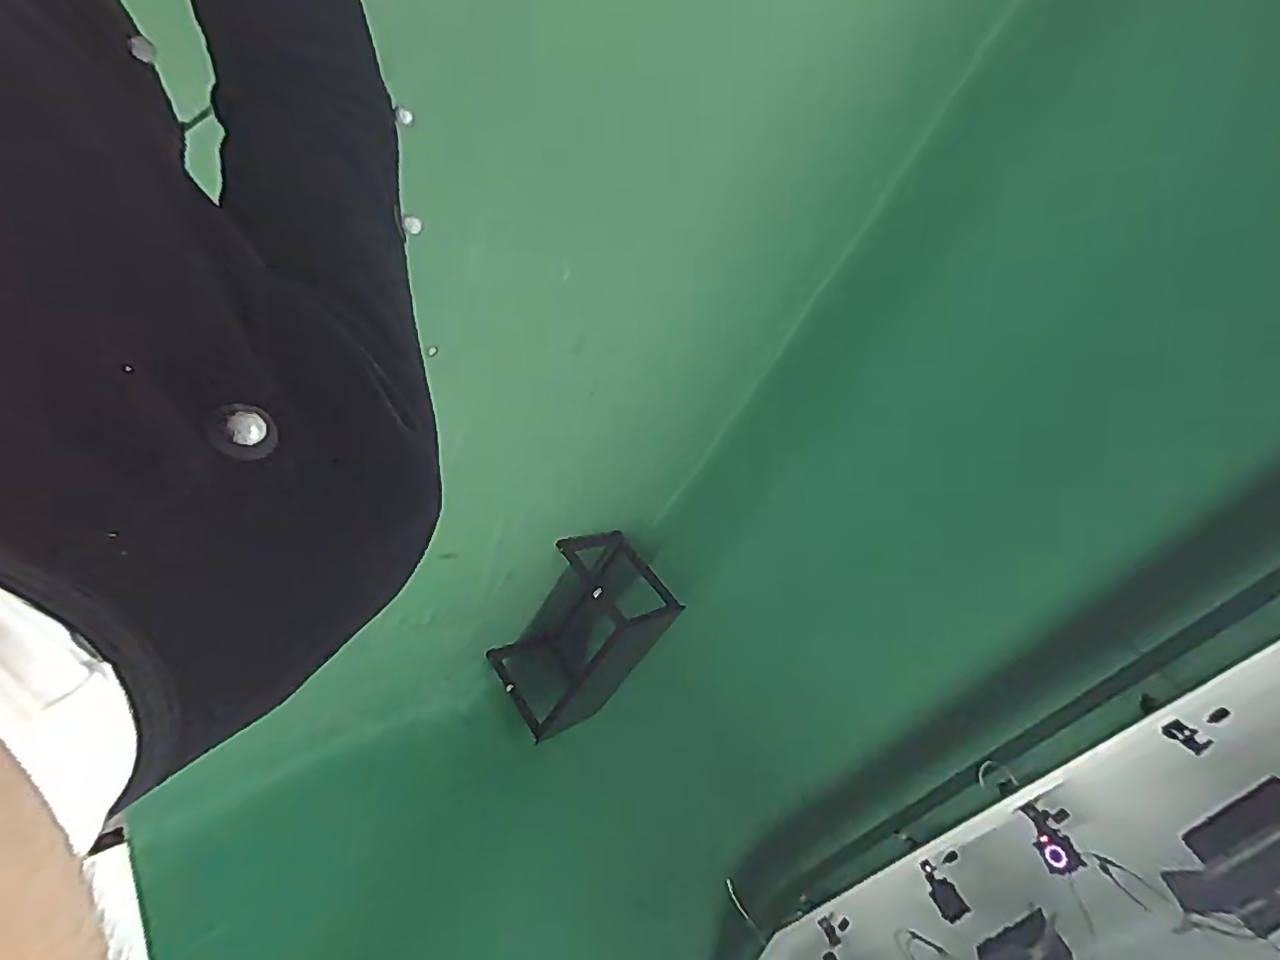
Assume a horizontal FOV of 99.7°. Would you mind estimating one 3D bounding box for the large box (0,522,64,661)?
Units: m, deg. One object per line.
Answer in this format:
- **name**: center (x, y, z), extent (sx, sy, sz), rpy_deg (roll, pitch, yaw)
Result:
- **large box**: center (-1.790, 0.312, 1.324), extent (0.408, 0.320, 0.320), rpy_deg (-32, 153, -22)
